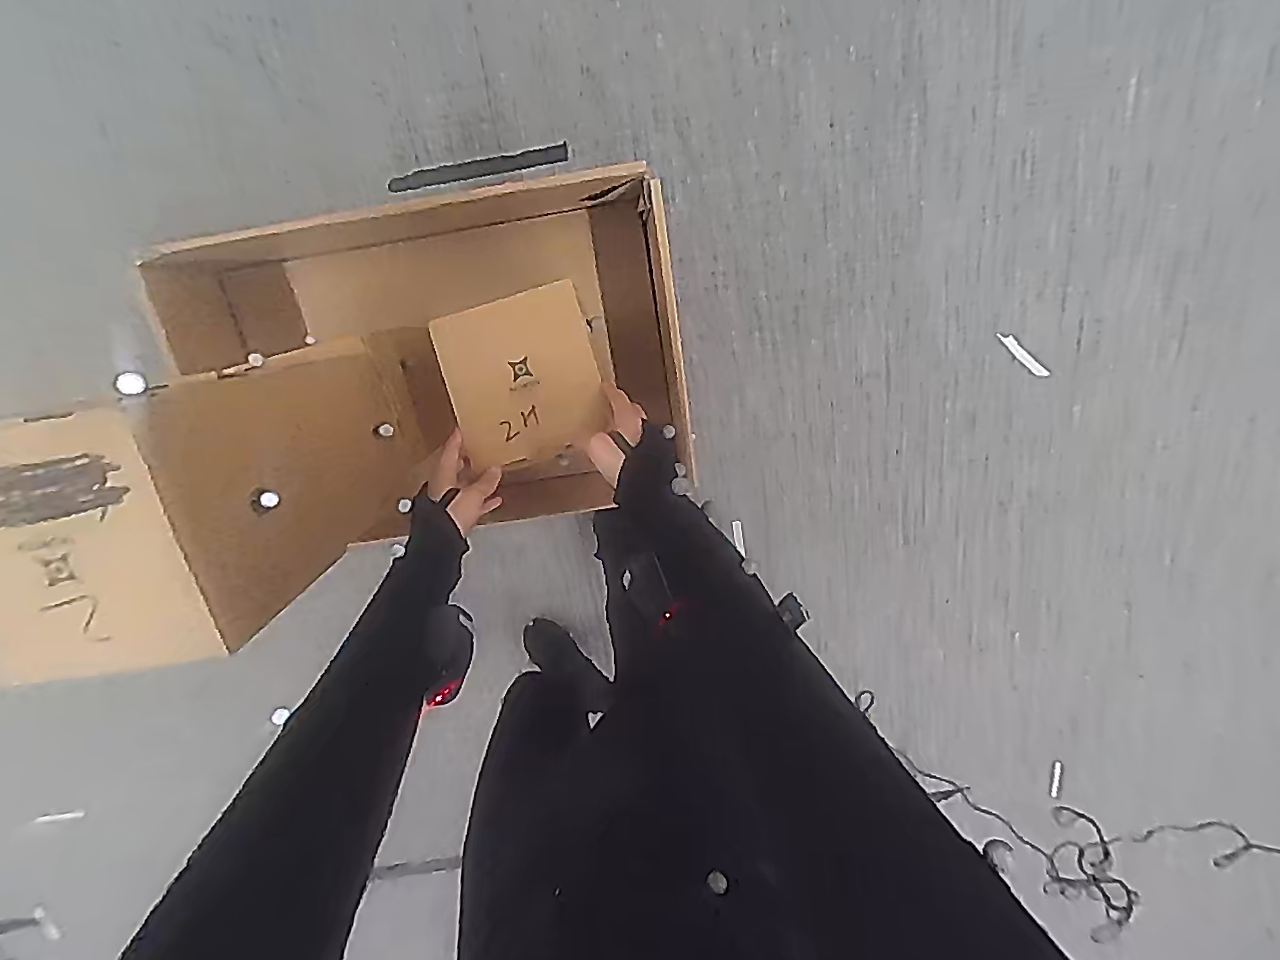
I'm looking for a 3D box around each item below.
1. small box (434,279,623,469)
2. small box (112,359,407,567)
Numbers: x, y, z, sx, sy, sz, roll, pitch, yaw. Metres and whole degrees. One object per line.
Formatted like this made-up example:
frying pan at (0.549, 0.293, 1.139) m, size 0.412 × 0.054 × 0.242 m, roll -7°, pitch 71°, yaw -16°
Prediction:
small box at (-0.124, -0.118, 0.670) m, size 0.168 × 0.176 × 0.179 m, roll -17°, pitch 93°, yaw 3°
small box at (-0.375, -0.031, 0.573) m, size 0.168 × 0.176 × 0.179 m, roll -8°, pitch 107°, yaw 1°
